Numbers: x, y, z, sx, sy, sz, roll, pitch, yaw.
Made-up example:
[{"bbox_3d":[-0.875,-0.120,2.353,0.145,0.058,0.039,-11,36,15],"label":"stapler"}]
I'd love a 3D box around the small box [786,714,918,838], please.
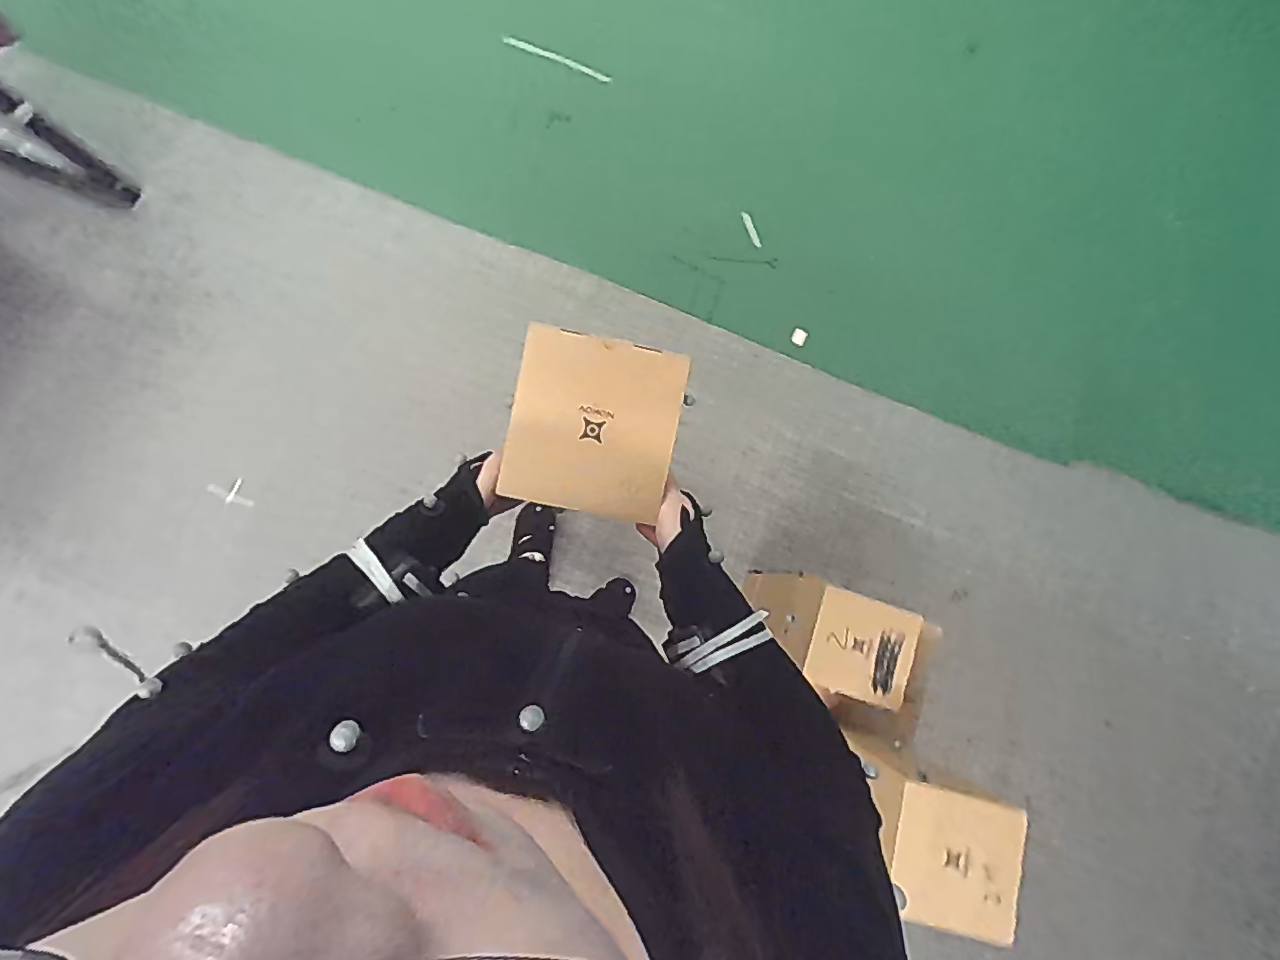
[{"bbox_3d":[0.390,0.545,0.975,0.179,0.176,0.168,19,80,0],"label":"small box"}]

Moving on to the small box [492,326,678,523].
[{"bbox_3d":[-0.059,-0.060,0.629,0.168,0.176,0.179,11,93,-4],"label":"small box"}]

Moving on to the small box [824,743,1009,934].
[{"bbox_3d":[0.401,0.519,0.813,0.179,0.176,0.168,17,81,-2],"label":"small box"}]
